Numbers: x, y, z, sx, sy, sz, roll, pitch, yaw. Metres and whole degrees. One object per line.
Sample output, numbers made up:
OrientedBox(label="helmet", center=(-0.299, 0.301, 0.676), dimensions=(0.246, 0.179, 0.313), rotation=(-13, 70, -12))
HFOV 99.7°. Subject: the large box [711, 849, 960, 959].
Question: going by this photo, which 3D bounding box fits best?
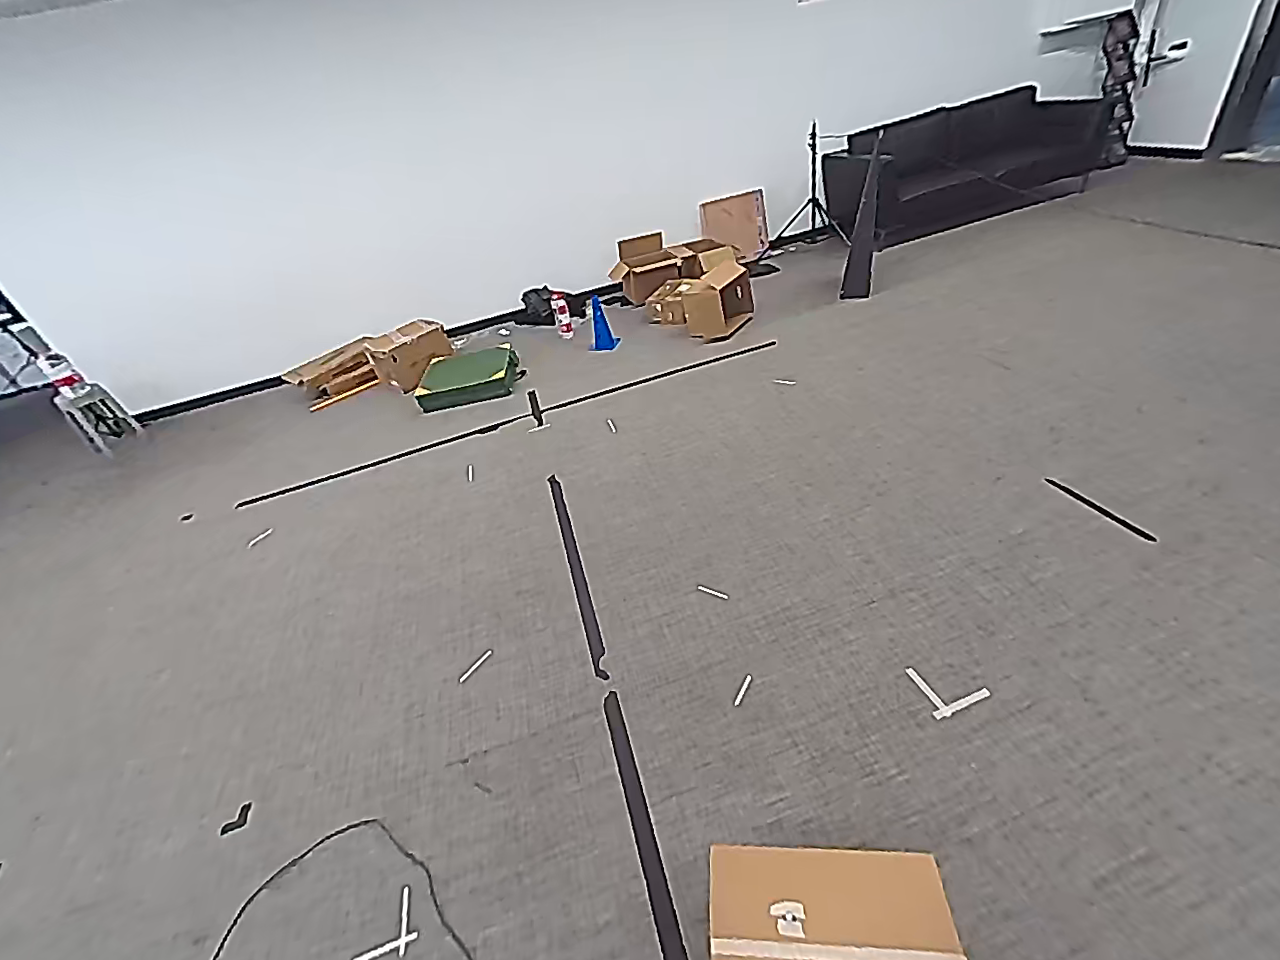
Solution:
OrientedBox(label="large box", center=(0.351, 0.910, 0.984), dimensions=(0.408, 0.320, 0.320), rotation=(-6, 35, 11))
